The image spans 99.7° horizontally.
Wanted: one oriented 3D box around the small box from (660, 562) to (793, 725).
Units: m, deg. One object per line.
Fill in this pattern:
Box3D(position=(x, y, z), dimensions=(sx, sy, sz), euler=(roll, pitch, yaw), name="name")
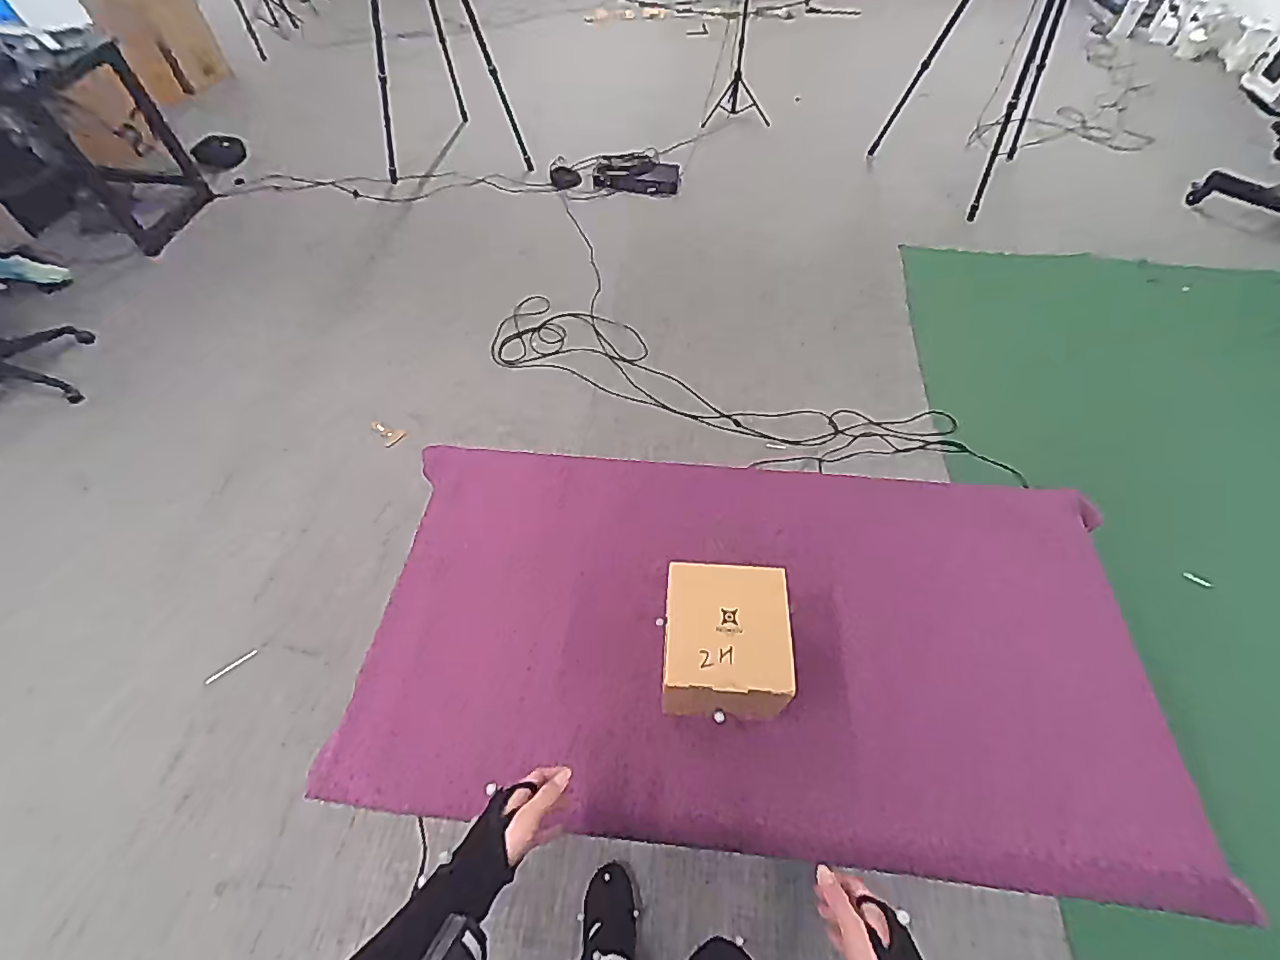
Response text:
Box3D(position=(0.116, 0.240, 0.786), dimensions=(0.168, 0.176, 0.179), euler=(3, 55, 3), name="small box")
